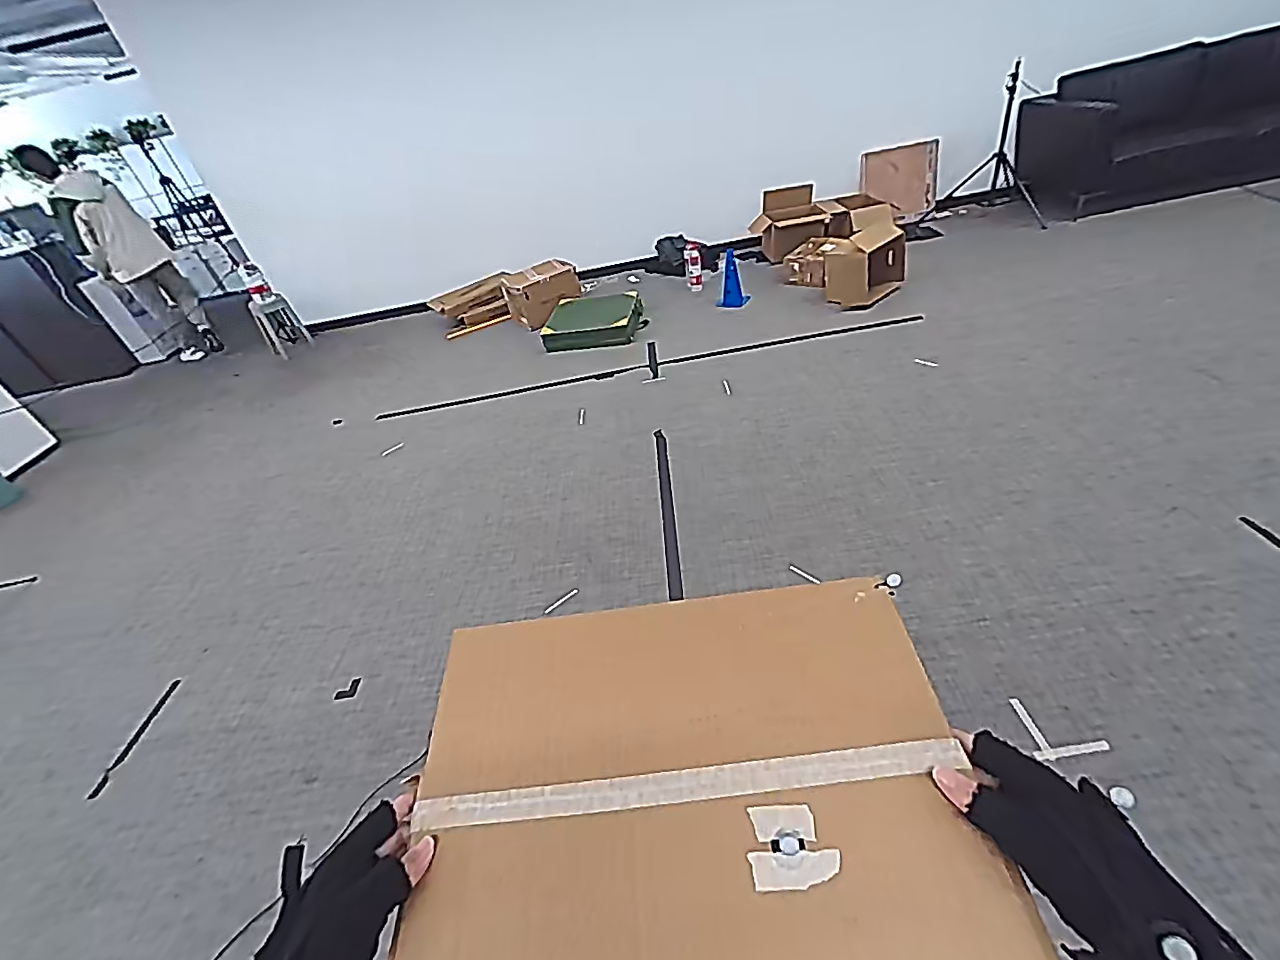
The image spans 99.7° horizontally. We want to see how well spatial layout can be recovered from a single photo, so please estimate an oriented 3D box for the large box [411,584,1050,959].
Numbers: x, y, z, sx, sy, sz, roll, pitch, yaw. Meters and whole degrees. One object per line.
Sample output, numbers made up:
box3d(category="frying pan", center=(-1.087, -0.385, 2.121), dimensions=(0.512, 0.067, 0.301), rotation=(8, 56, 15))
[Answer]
box3d(category="large box", center=(0.056, 0.338, 0.512), dimensions=(0.408, 0.320, 0.320), rotation=(-8, 45, 2))
